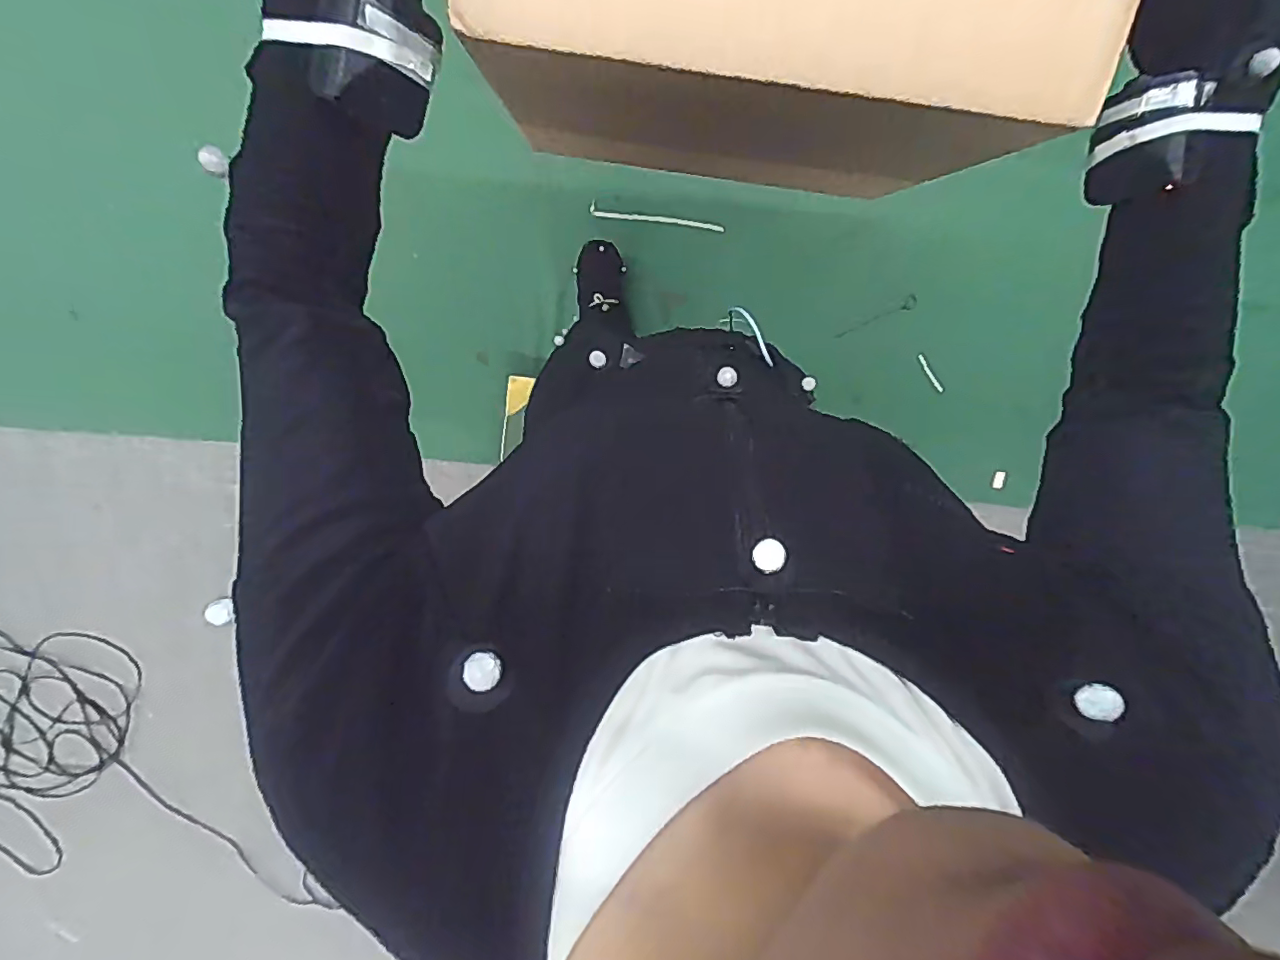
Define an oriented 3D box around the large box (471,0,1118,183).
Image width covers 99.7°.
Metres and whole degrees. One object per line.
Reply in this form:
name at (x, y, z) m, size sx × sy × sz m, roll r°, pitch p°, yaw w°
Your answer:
large box at (0.100, -0.452, 0.427) m, size 0.408 × 0.320 × 0.320 m, roll 5°, pitch 110°, yaw -5°
